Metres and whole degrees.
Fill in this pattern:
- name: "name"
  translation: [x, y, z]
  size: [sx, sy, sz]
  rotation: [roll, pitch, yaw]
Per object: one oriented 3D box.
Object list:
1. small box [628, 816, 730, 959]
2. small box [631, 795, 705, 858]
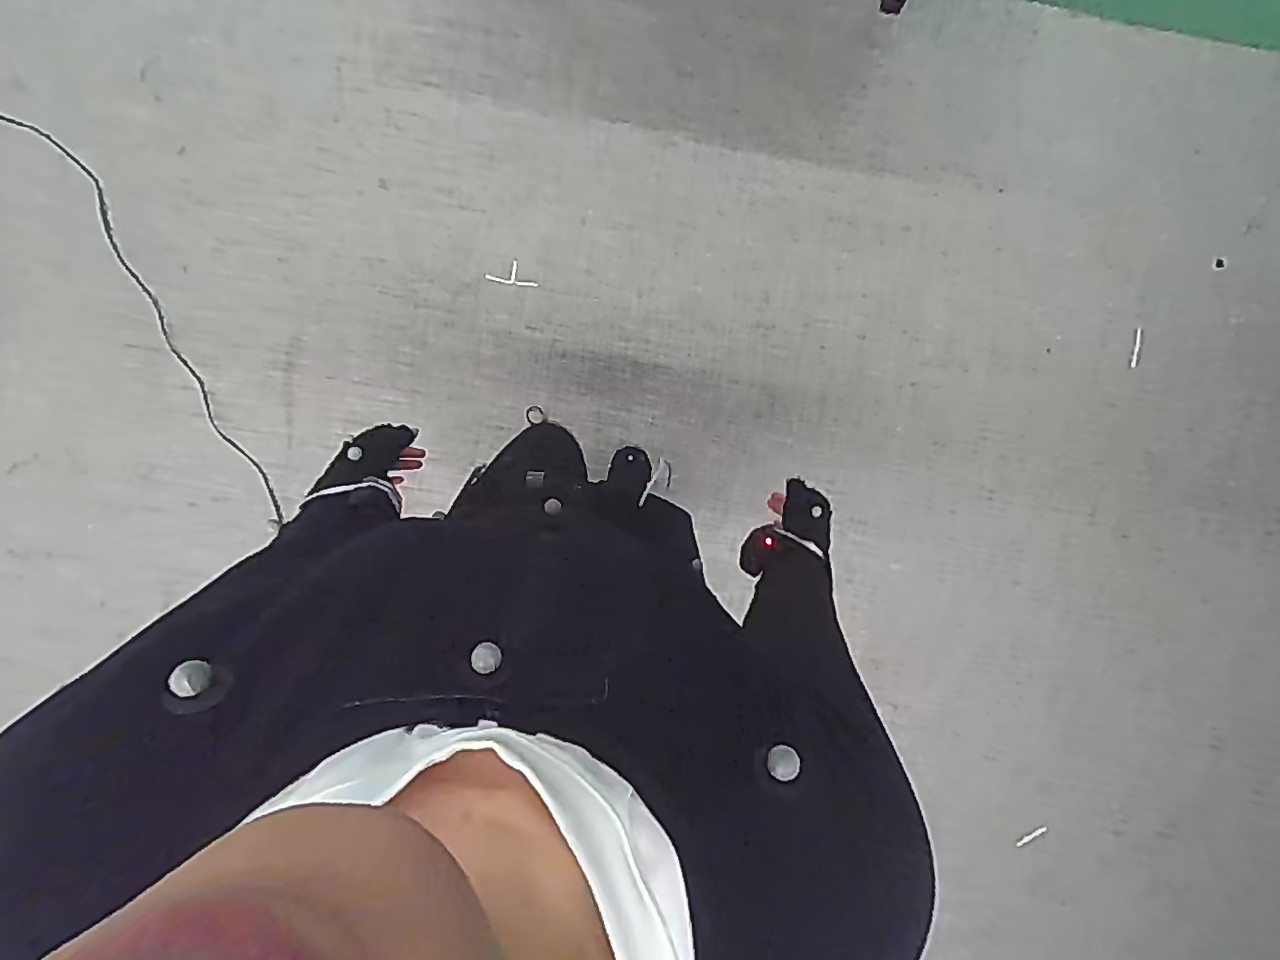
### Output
- name: "small box"
  translation: [0.082, 0.946, 1.272]
  size: [0.168, 0.176, 0.179]
  rotation: [39, 91, -3]
- name: "small box"
  translation: [0.067, 0.957, 1.419]
  size: [0.179, 0.176, 0.168]
  rotation: [4, 92, -3]
